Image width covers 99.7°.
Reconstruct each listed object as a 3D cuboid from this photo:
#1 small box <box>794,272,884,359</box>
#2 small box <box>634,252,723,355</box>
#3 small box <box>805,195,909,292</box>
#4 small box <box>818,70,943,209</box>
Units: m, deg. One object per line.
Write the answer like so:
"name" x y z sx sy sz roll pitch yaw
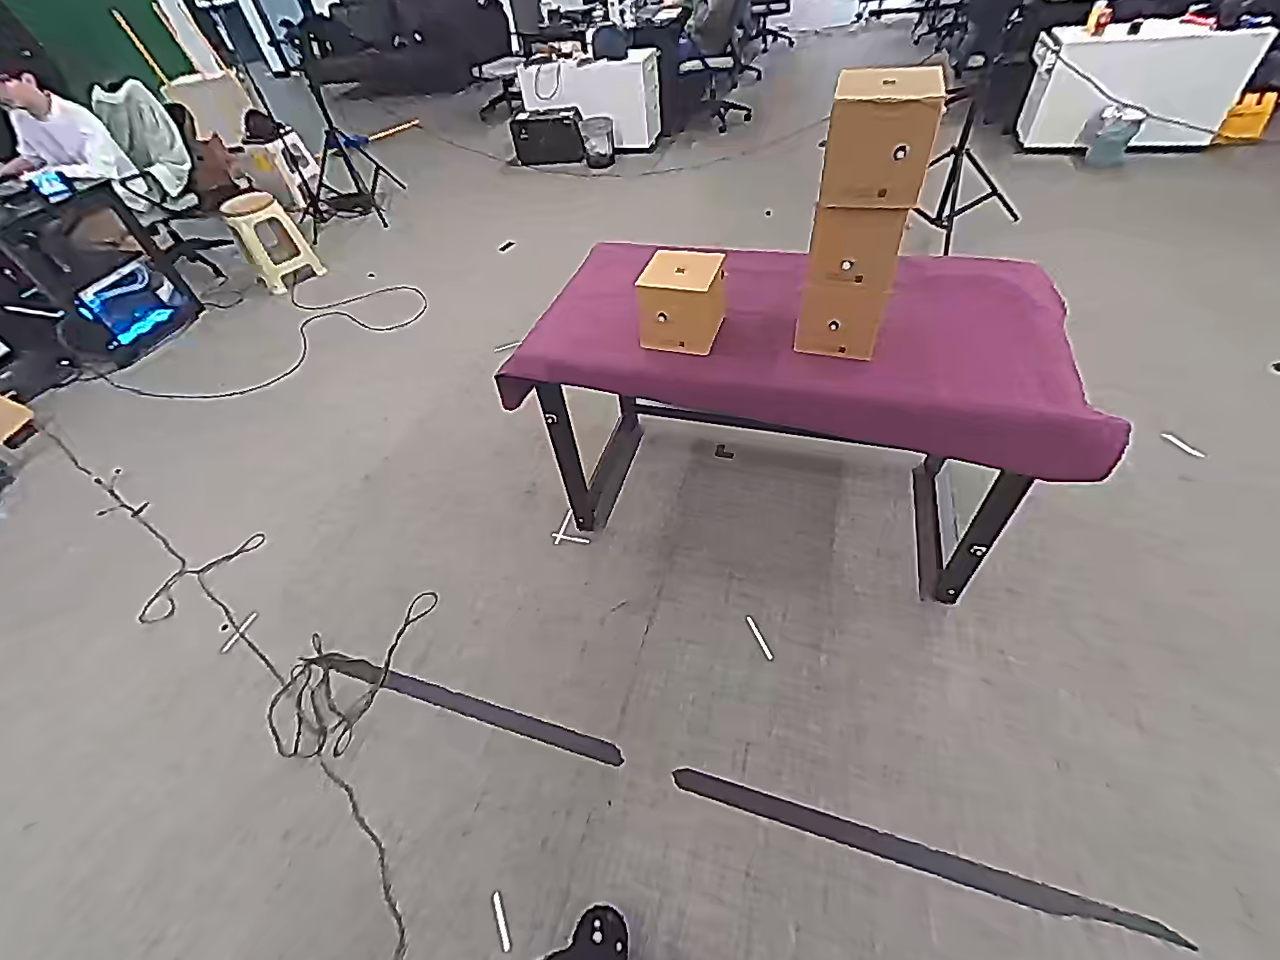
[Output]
"small box" 0.446 -0.391 1.205 0.168 0.176 0.179 12 50 17
"small box" 0.097 -0.413 1.269 0.168 0.176 0.179 11 49 16
"small box" 0.435 -0.503 1.085 0.168 0.176 0.179 12 51 17
"small box" 0.415 -0.595 0.951 0.168 0.176 0.179 10 50 14
